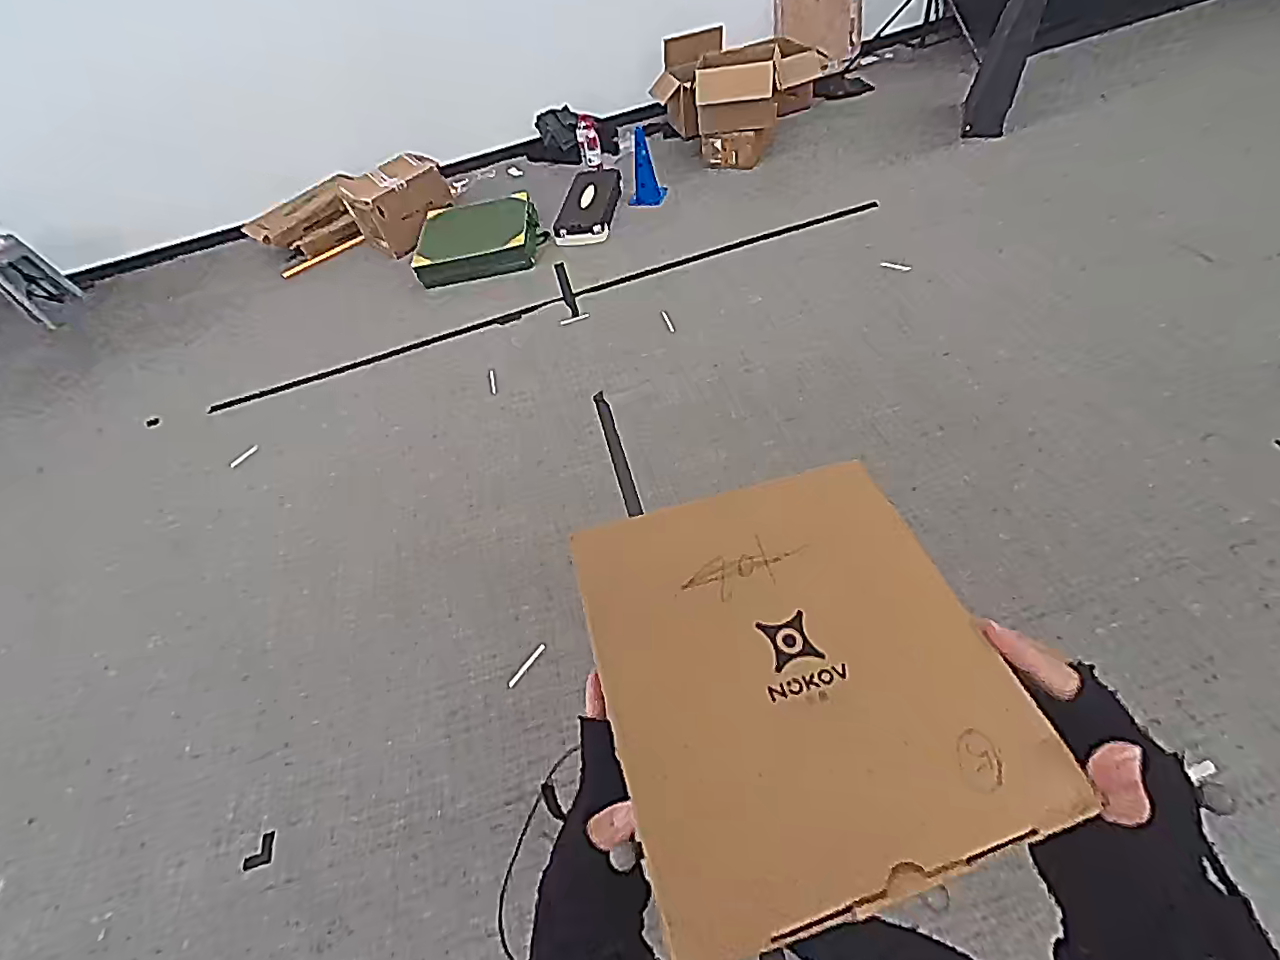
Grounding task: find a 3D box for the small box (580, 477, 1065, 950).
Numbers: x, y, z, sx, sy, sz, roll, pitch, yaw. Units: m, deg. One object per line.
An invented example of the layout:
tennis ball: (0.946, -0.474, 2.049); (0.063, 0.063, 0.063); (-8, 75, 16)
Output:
small box: (0.071, 0.130, 0.313); (0.168, 0.176, 0.179); (-14, 51, -10)
